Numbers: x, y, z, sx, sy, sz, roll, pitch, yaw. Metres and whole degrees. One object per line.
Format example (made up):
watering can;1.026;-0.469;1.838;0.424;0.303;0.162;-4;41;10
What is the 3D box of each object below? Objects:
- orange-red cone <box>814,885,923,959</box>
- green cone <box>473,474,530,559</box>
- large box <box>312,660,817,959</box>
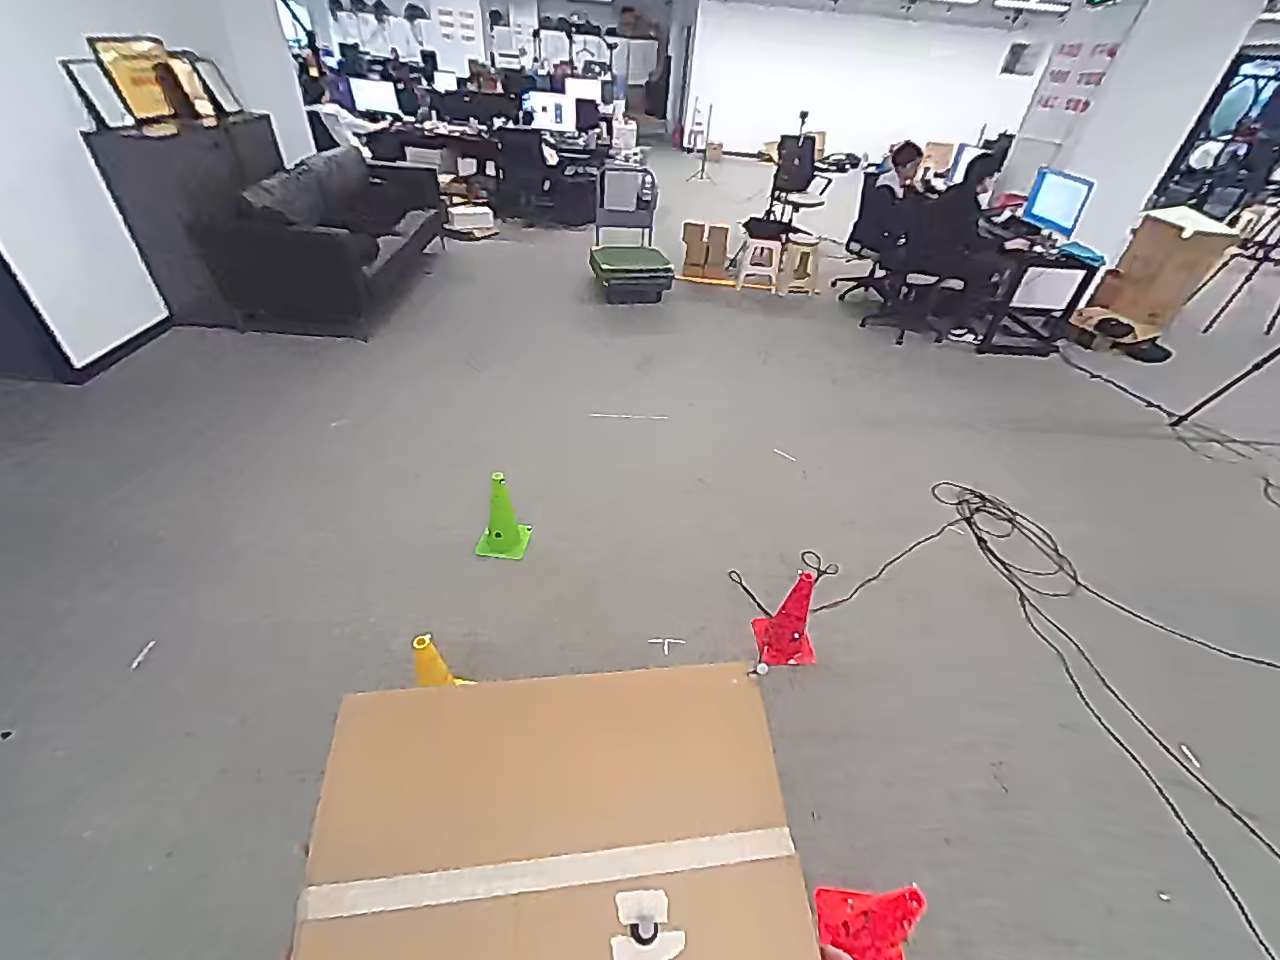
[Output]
orange-red cone;0.550;0.996;1.222;0.199;0.360;0.198;9;39;2
green cone;-0.576;0.123;2.190;0.200;0.368;0.202;6;40;2
large box;-0.075;0.411;0.586;0.408;0.320;0.320;-2;57;-7
